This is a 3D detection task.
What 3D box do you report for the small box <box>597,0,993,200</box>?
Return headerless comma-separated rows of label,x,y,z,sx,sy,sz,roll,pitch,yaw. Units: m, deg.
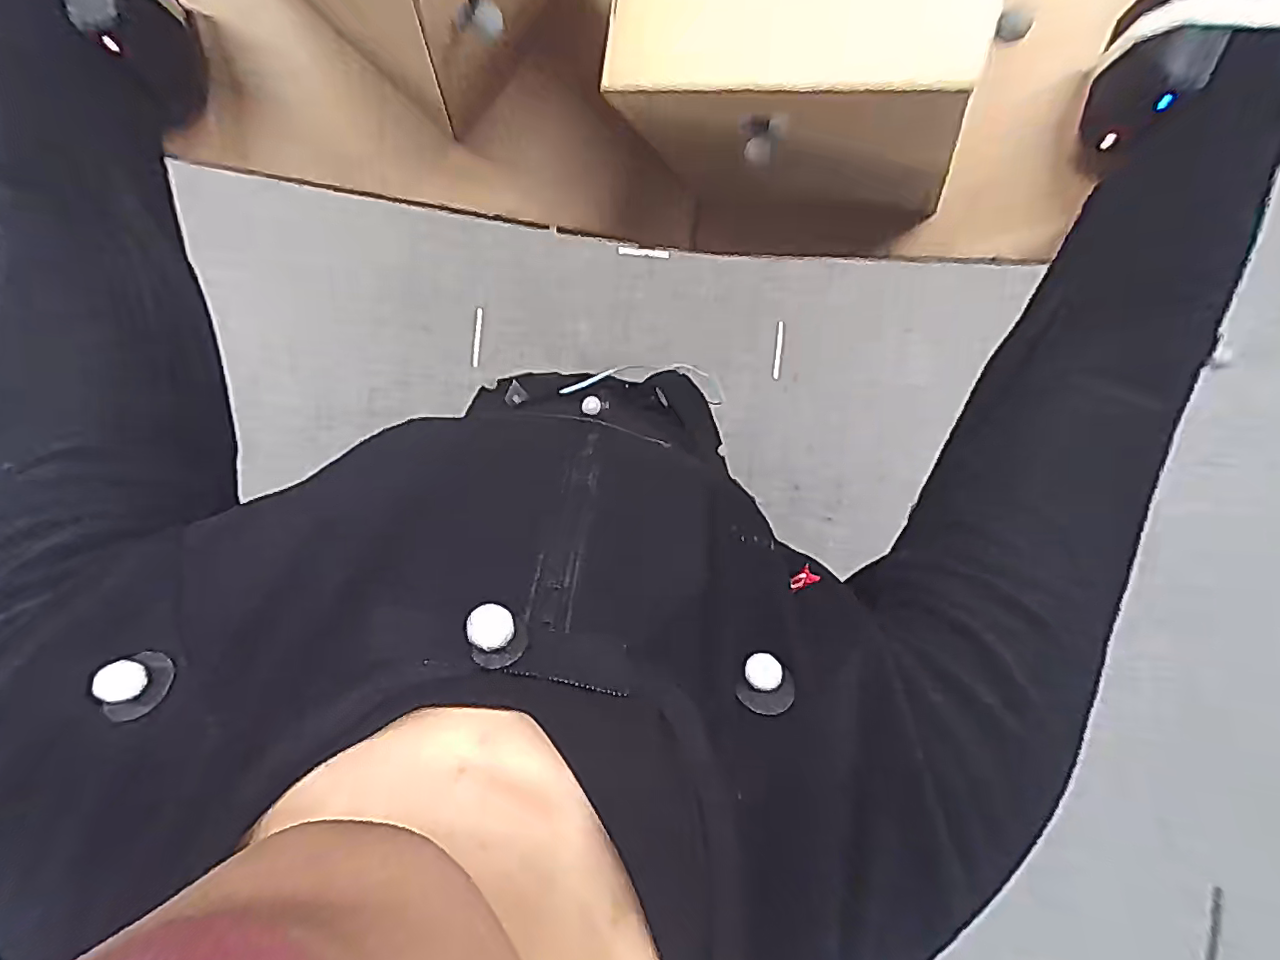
small box,0.103,-0.274,0.305,0.179,0.176,0.168,18,105,22
